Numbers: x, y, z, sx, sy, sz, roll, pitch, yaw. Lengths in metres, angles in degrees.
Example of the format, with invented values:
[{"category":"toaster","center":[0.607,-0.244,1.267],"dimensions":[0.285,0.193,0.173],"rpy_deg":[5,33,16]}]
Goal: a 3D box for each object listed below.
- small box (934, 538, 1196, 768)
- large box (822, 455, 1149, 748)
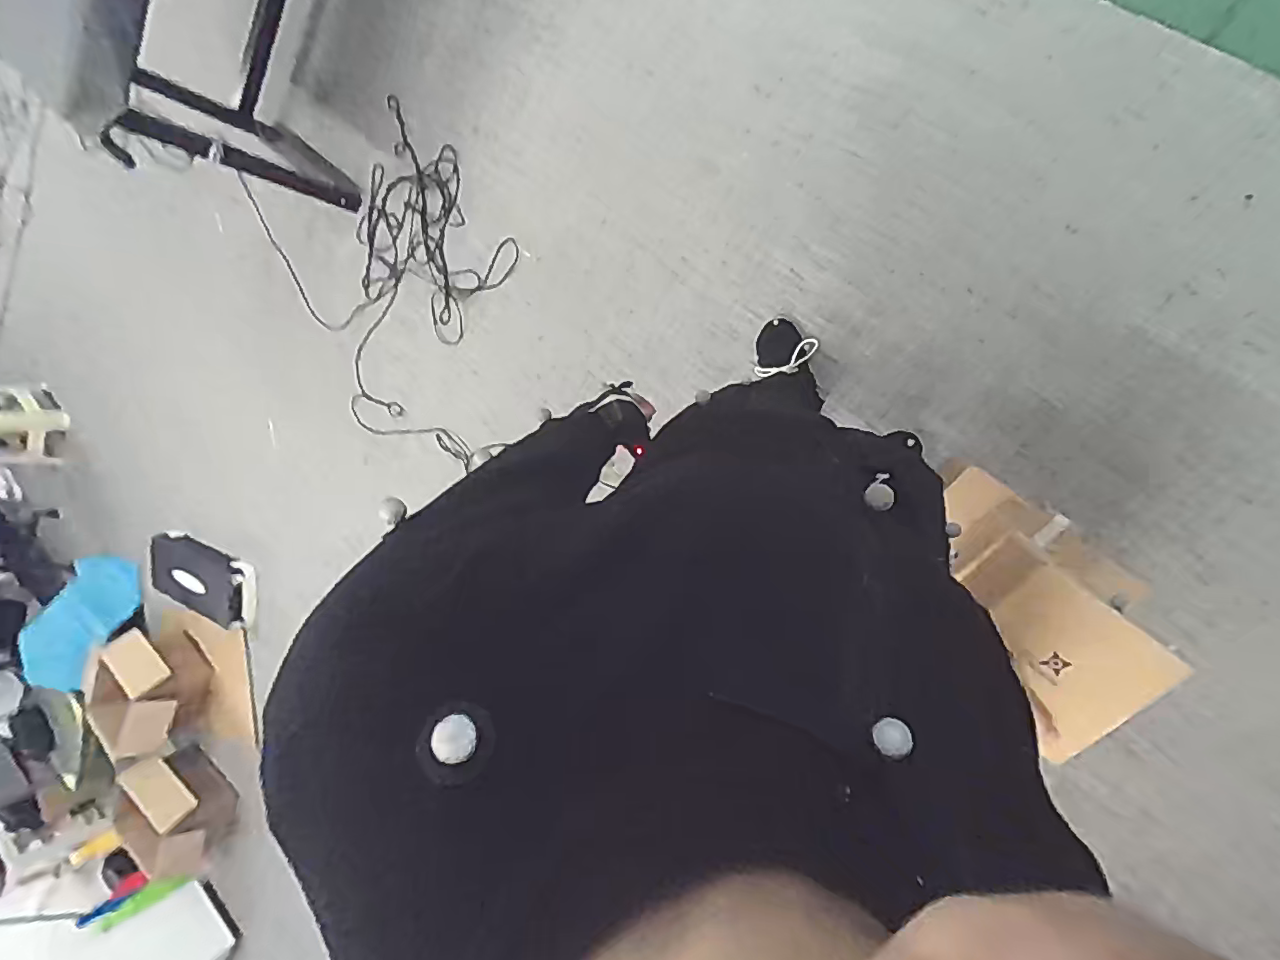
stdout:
[{"category":"small box","center":[0.489,0.196,0.664],"dimensions":[0.168,0.176,0.179],"rpy_deg":[41,113,14]},{"category":"large box","center":[0.624,0.208,1.054],"dimensions":[0.320,0.320,0.408],"rpy_deg":[41,112,17]}]
